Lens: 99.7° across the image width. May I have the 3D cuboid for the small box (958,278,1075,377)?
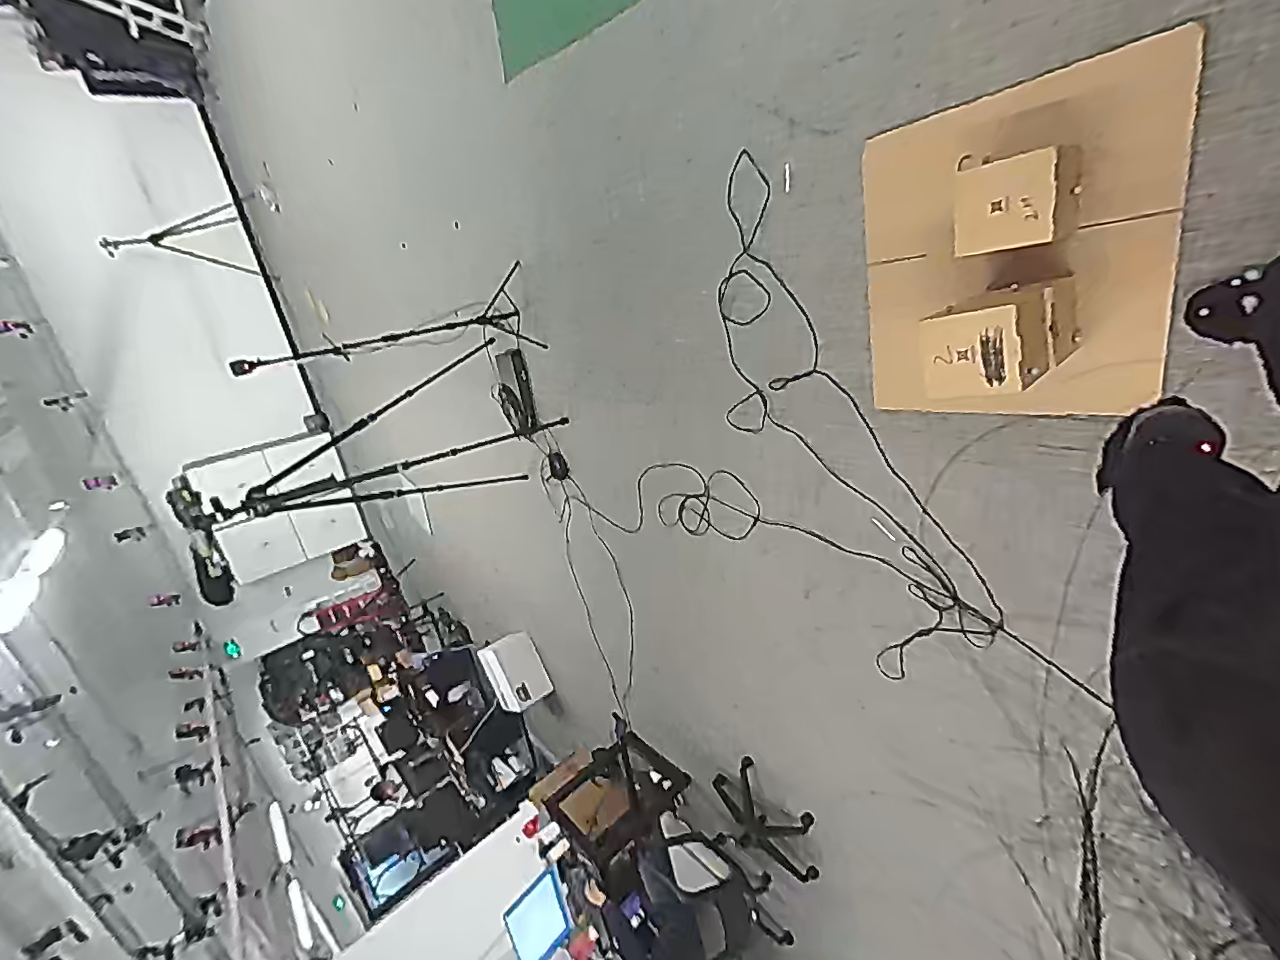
[{"bbox_3d":[0.828,-0.333,1.182,0.179,0.176,0.168,5,115,51],"label":"small box"}]

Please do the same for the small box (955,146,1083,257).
[{"bbox_3d":[0.775,-0.568,1.112,0.179,0.176,0.168,11,120,49],"label":"small box"}]
